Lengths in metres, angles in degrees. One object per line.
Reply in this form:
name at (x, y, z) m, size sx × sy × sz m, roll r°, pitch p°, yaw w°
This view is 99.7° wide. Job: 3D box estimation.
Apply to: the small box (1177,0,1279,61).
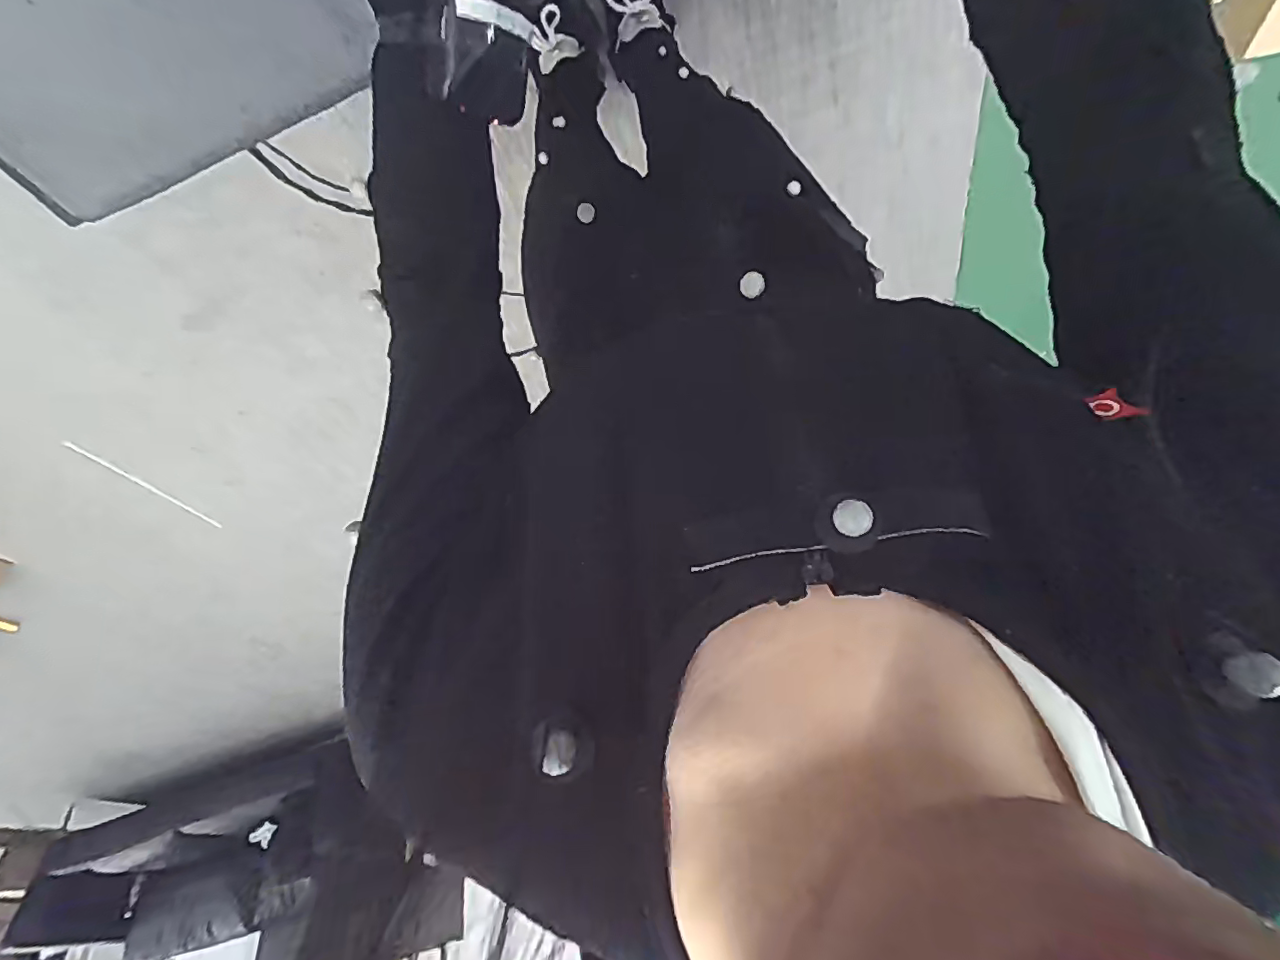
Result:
small box at (1.326, -1.021, 1.143) m, size 0.179 × 0.176 × 0.168 m, roll -12°, pitch 139°, yaw -1°
